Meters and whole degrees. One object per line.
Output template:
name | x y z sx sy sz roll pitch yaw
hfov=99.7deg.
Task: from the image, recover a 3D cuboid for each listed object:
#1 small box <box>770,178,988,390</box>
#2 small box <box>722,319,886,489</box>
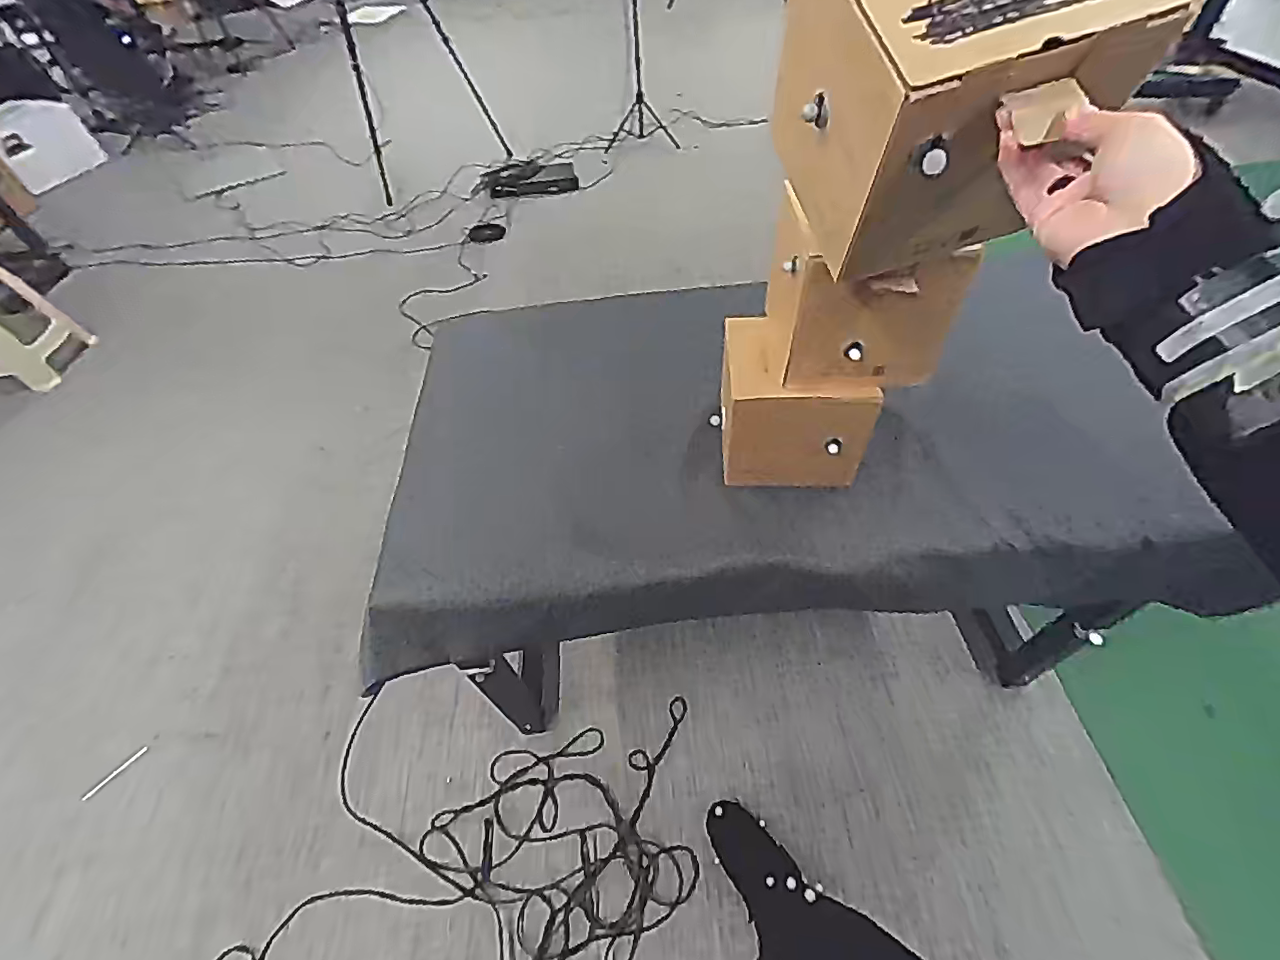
small box | 0.251 -0.223 0.623 0.168 0.176 0.179 -1 51 3
small box | 0.207 -0.100 0.736 0.179 0.176 0.168 0 50 6
